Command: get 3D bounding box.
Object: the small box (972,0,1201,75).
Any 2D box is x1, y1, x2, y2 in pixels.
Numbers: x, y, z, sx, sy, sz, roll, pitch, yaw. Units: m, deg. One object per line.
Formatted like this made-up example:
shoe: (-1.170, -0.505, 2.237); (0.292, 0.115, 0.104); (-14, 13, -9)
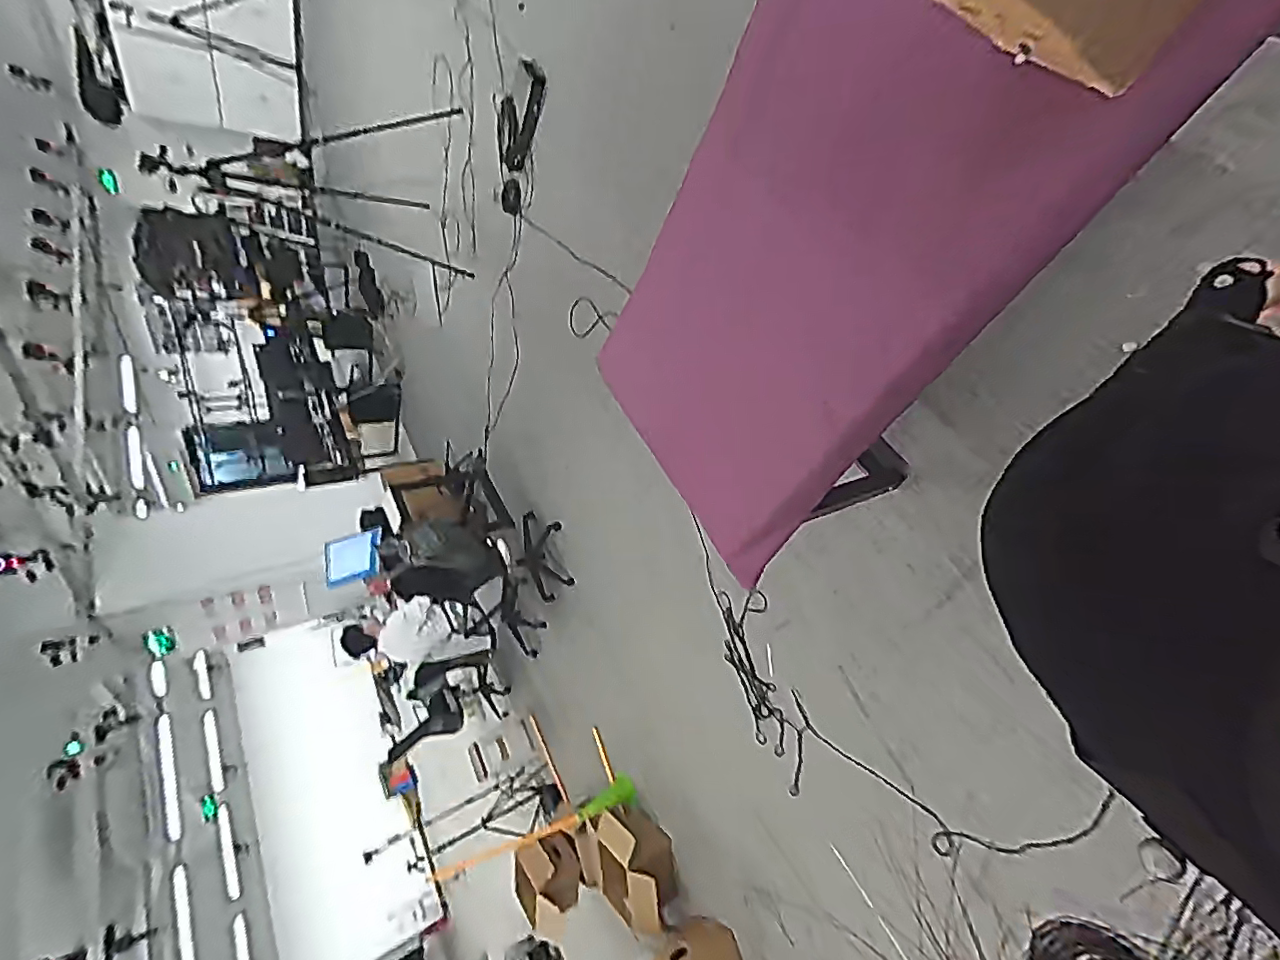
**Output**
small box: (0.453, -0.525, 0.510); (0.168, 0.176, 0.179); (55, 142, 28)
